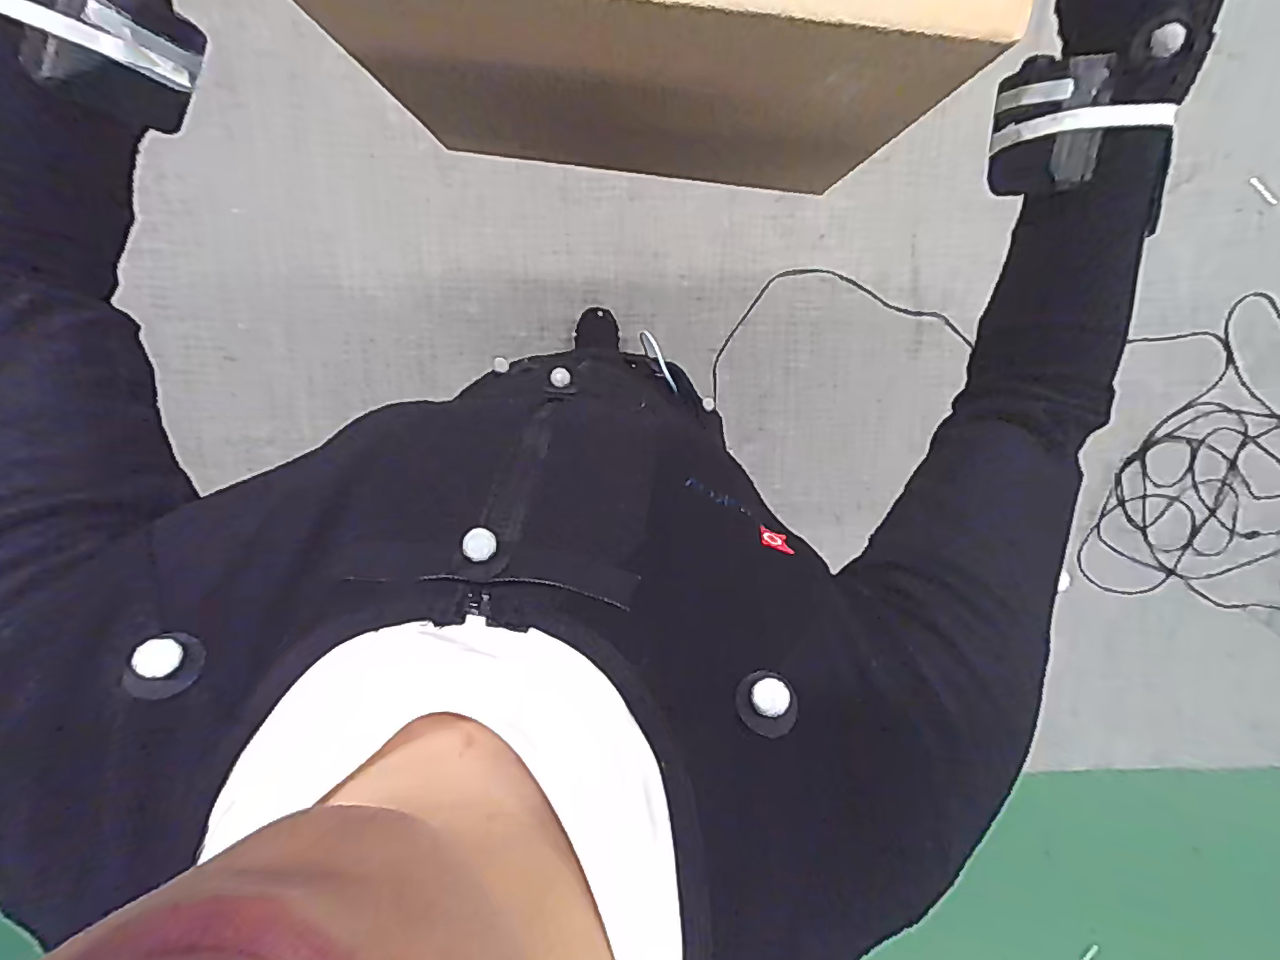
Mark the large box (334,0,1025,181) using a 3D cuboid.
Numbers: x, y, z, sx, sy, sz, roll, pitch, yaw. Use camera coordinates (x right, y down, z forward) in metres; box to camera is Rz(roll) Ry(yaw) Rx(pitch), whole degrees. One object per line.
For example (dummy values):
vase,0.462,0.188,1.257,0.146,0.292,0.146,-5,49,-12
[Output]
large box,0.018,-0.443,0.391,0.408,0.320,0.320,5,105,-3
